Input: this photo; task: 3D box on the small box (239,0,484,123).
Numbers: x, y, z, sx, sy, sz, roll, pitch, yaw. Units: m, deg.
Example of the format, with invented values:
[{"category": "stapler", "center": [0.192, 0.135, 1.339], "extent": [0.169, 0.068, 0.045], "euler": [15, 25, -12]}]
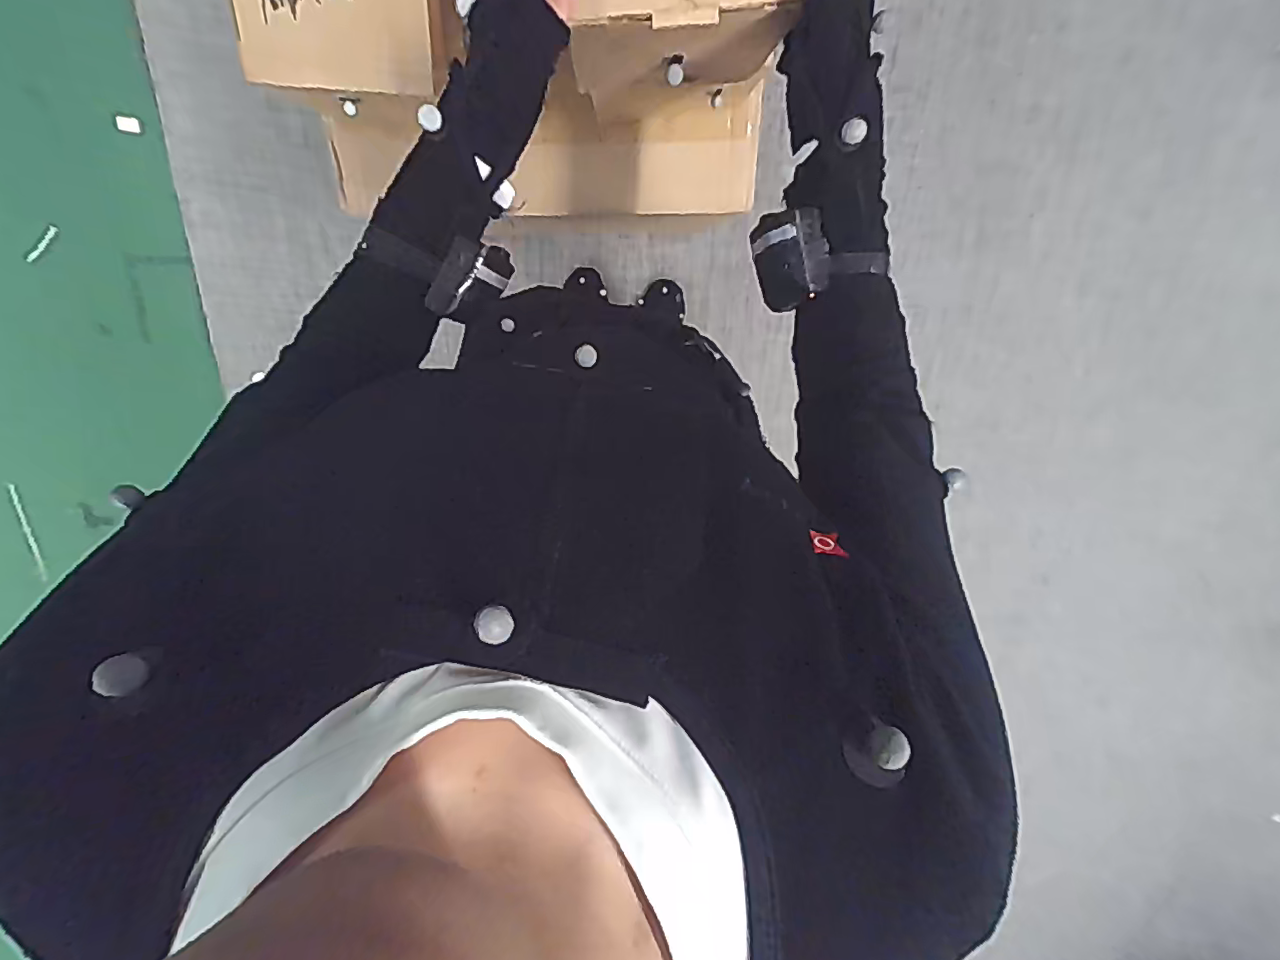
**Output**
[{"category": "small box", "center": [-0.272, -0.478, 0.550], "extent": [0.179, 0.176, 0.168], "euler": [3, 115, -2]}]

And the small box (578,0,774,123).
[{"category": "small box", "center": [0.029, -0.485, 0.549], "extent": [0.179, 0.176, 0.168], "euler": [-7, 112, 4]}]
